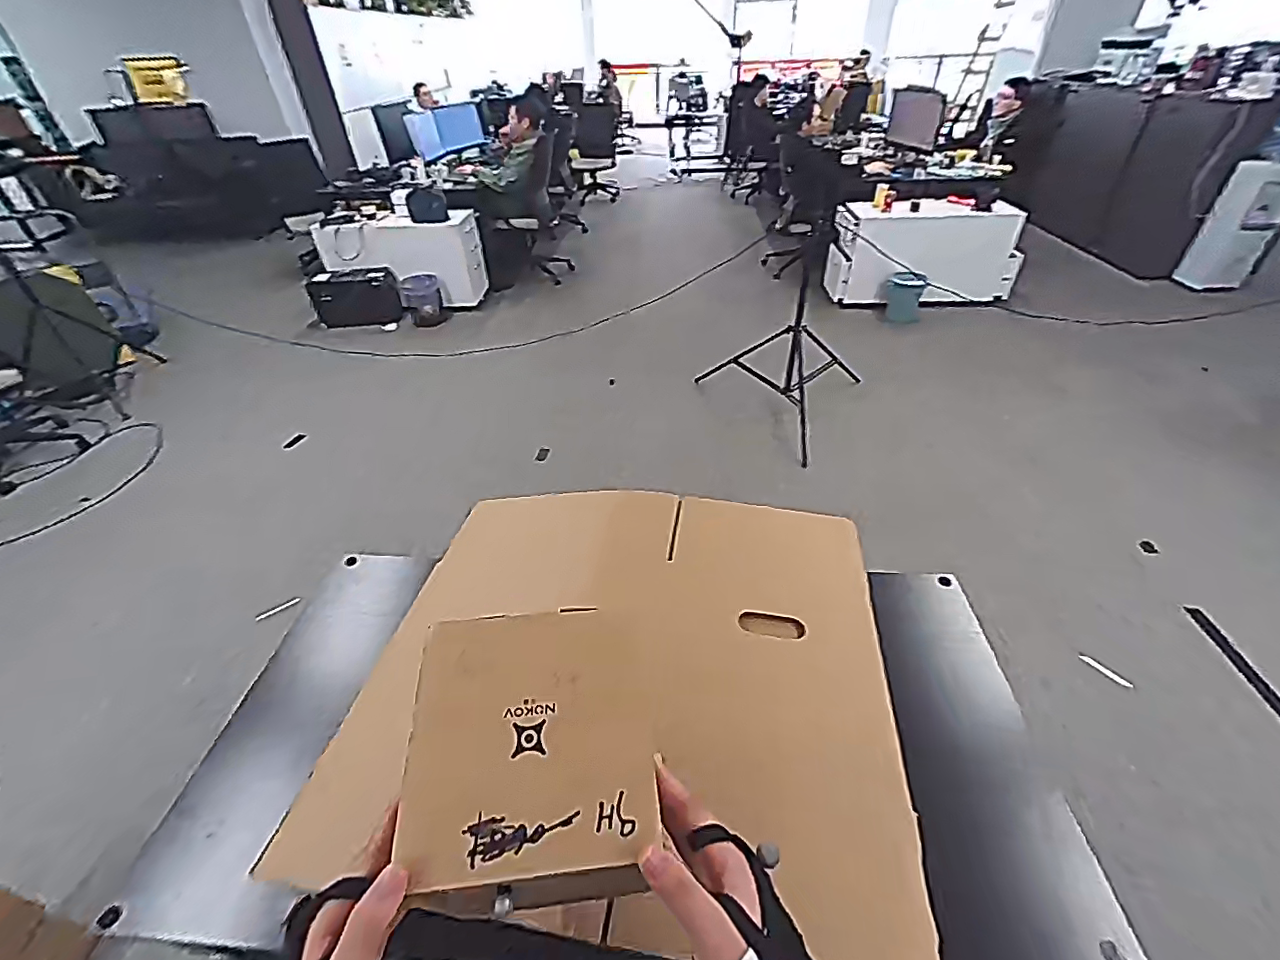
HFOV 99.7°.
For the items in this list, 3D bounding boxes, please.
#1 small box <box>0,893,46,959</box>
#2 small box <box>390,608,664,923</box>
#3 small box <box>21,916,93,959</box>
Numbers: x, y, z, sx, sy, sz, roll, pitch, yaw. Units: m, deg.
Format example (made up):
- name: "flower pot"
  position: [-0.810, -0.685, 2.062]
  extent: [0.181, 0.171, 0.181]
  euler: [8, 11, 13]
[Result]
- name: "small box"
  position: [-1.300, 0.892, 1.007]
  extent: [0.168, 0.176, 0.179]
  euler: [-3, 37, -2]
- name: "small box"
  position: [-0.077, 0.228, 0.437]
  extent: [0.168, 0.176, 0.179]
  euler: [-5, 47, -5]
- name: "small box"
  position: [-1.293, 1.023, 1.103]
  extent: [0.168, 0.176, 0.179]
  euler: [-1, 39, 1]
